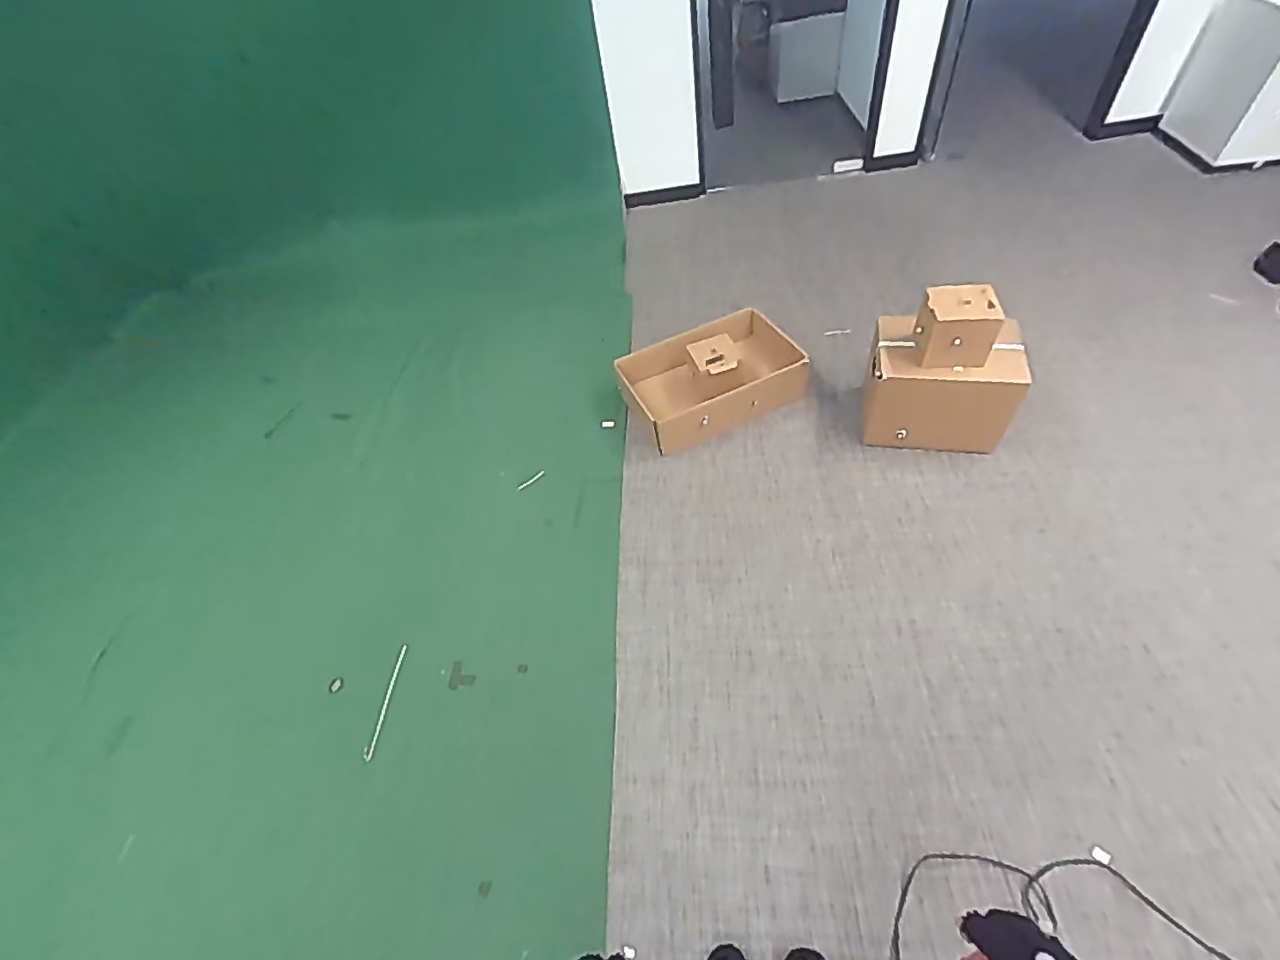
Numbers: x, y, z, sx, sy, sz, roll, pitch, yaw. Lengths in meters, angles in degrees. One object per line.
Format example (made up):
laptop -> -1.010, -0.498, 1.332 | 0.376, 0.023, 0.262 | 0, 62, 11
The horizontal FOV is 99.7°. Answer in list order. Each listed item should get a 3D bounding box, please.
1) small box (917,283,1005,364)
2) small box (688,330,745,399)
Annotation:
small box -> 0.929, -0.455, 1.587 | 0.179, 0.176, 0.168 | 1, 53, 12
small box -> 0.289, -0.423, 2.020 | 0.168, 0.176, 0.179 | -17, 49, -3
